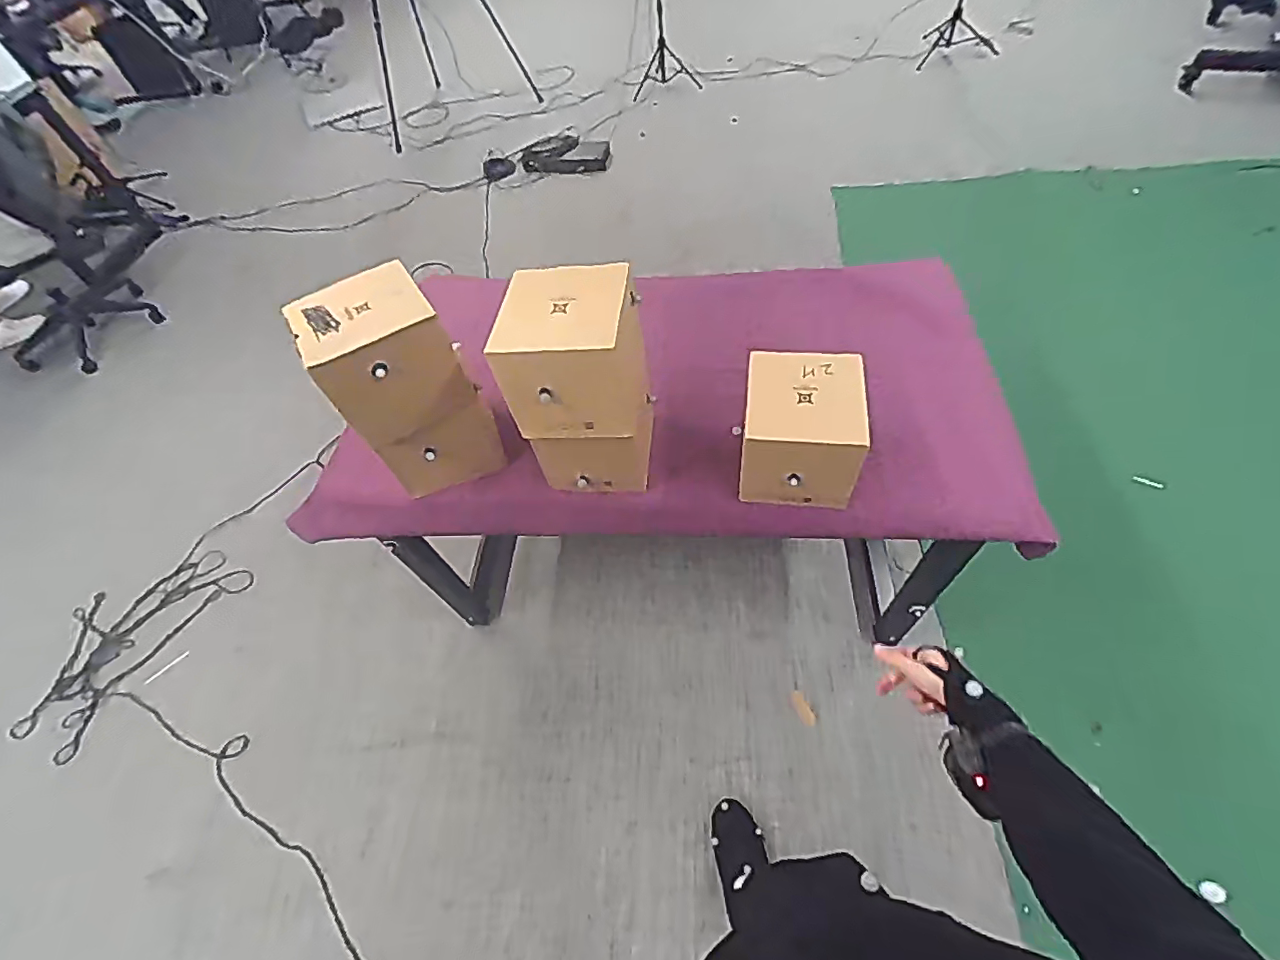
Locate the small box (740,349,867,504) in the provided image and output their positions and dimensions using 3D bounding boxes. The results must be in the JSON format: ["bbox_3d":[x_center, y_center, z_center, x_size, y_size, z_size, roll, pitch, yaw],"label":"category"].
[{"bbox_3d":[0.246,-0.080,0.841,0.168,0.176,0.179,5,57,10],"label":"small box"}]

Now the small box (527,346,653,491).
[{"bbox_3d":[-0.071,-0.102,0.899,0.168,0.176,0.179,1,55,9],"label":"small box"}]

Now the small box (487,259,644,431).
[{"bbox_3d":[-0.089,-0.182,0.758,0.168,0.176,0.179,0,54,9],"label":"small box"}]

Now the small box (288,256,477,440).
[{"bbox_3d":[-0.370,-0.190,0.795,0.179,0.176,0.168,-29,57,-14],"label":"small box"}]

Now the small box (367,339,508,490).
[{"bbox_3d":[-0.349,-0.108,0.938,0.179,0.176,0.168,-20,55,-6],"label":"small box"}]
